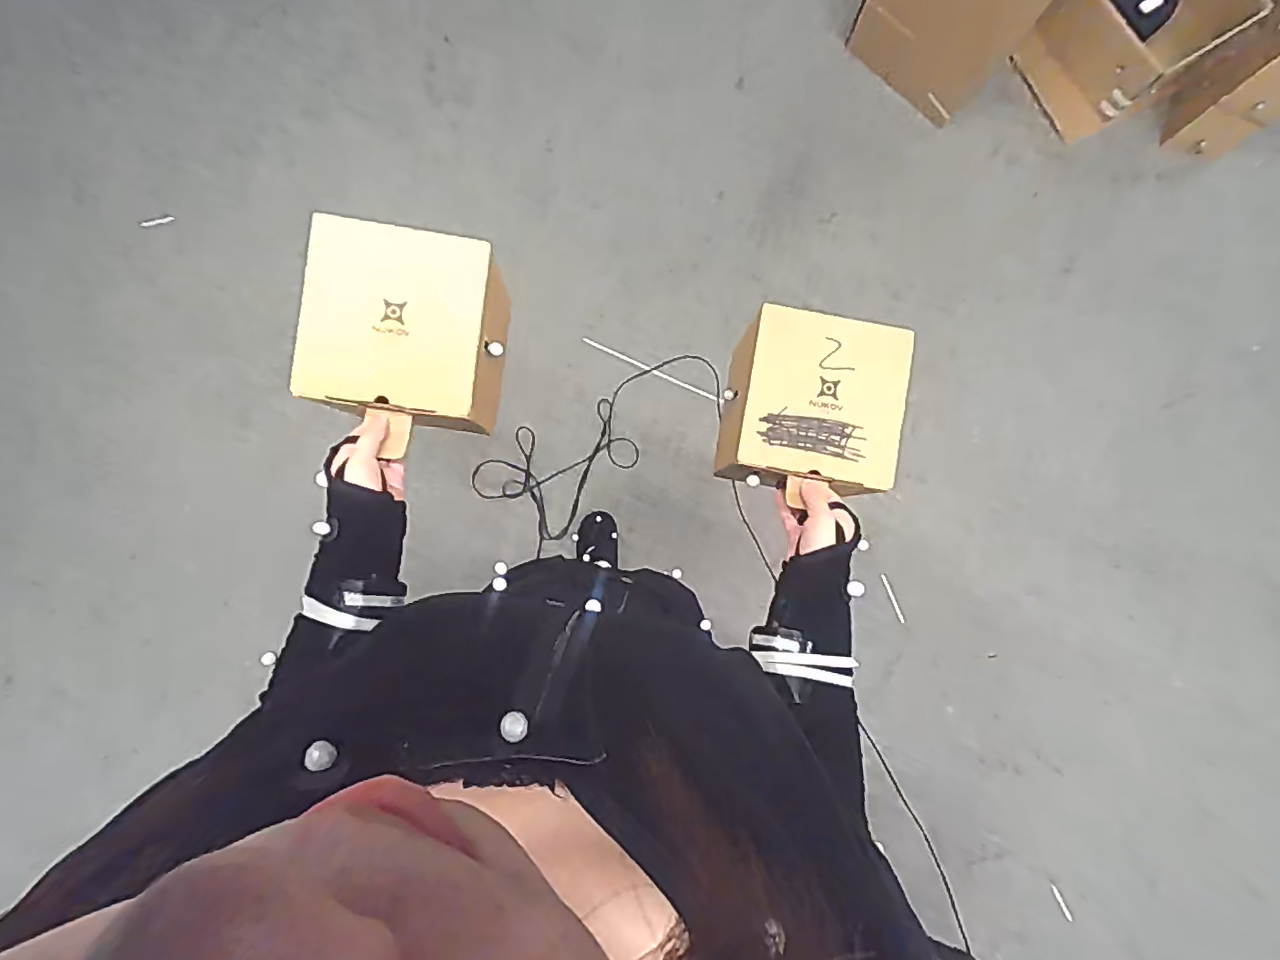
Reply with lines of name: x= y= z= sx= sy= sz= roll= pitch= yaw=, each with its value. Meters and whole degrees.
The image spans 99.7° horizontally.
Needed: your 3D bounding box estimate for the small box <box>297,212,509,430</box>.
small box: x=-0.245 y=-0.160 z=0.604 sx=0.168 sy=0.176 sz=0.179 roll=8 pitch=90 yaw=-7
